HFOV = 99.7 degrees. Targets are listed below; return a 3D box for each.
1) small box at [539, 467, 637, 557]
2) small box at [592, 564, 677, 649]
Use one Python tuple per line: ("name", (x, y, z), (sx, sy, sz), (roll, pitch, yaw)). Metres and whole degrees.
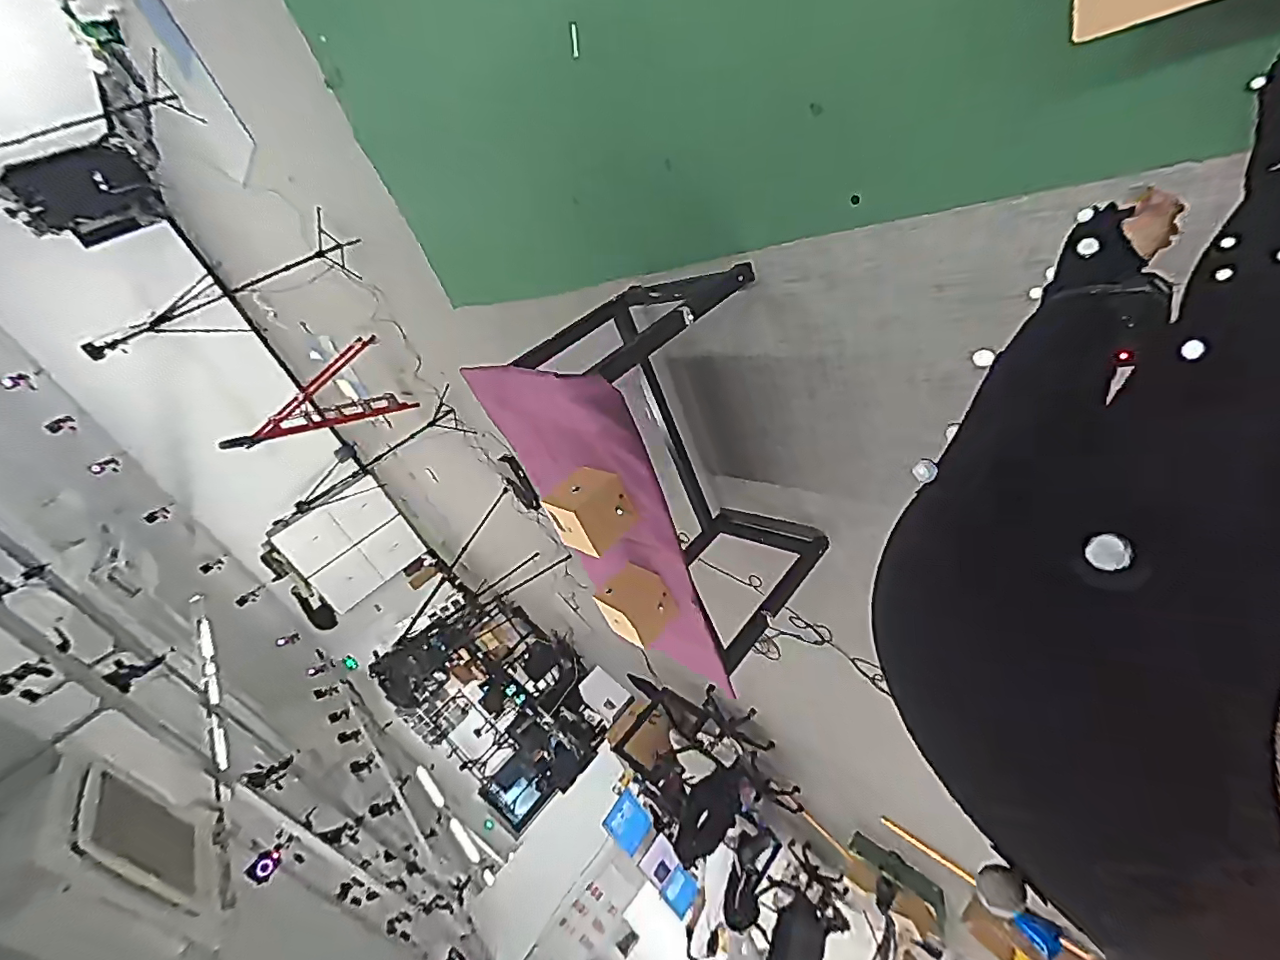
("small box", (-0.139, 0.080, 1.495), (0.179, 0.176, 0.168), (13, 136, 48))
("small box", (-0.014, 0.390, 1.705), (0.179, 0.176, 0.168), (13, 137, 50))
